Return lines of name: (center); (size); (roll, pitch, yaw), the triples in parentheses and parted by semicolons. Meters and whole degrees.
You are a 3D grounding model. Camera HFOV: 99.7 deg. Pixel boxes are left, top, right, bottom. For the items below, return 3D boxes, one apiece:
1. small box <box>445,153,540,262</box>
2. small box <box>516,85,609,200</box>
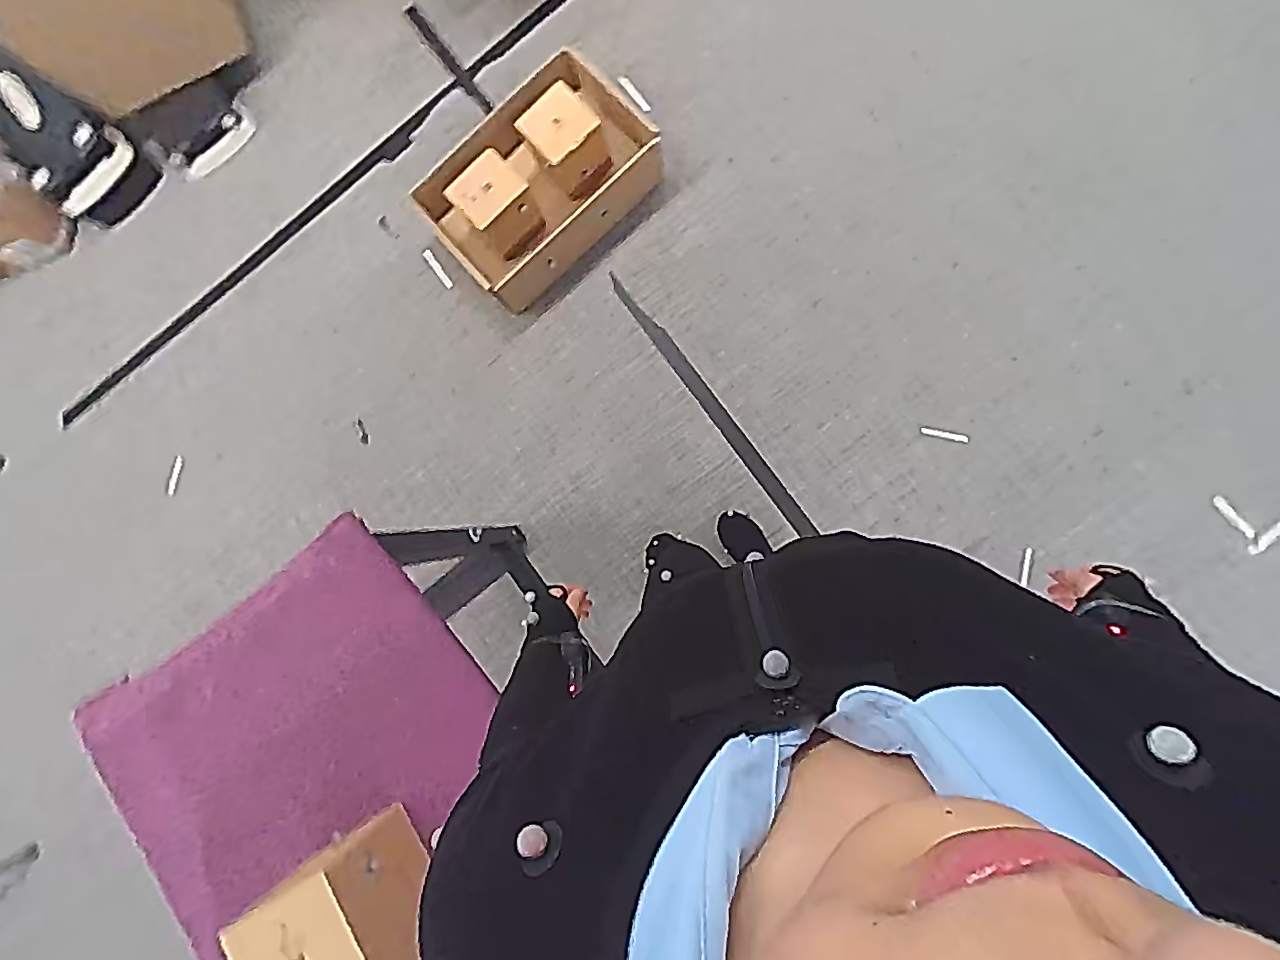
small box: (-0.404, -0.761, 1.526); (0.179, 0.176, 0.168); (-44, 80, 1)
small box: (-0.211, -0.936, 1.517); (0.168, 0.176, 0.179); (-42, 82, 3)
